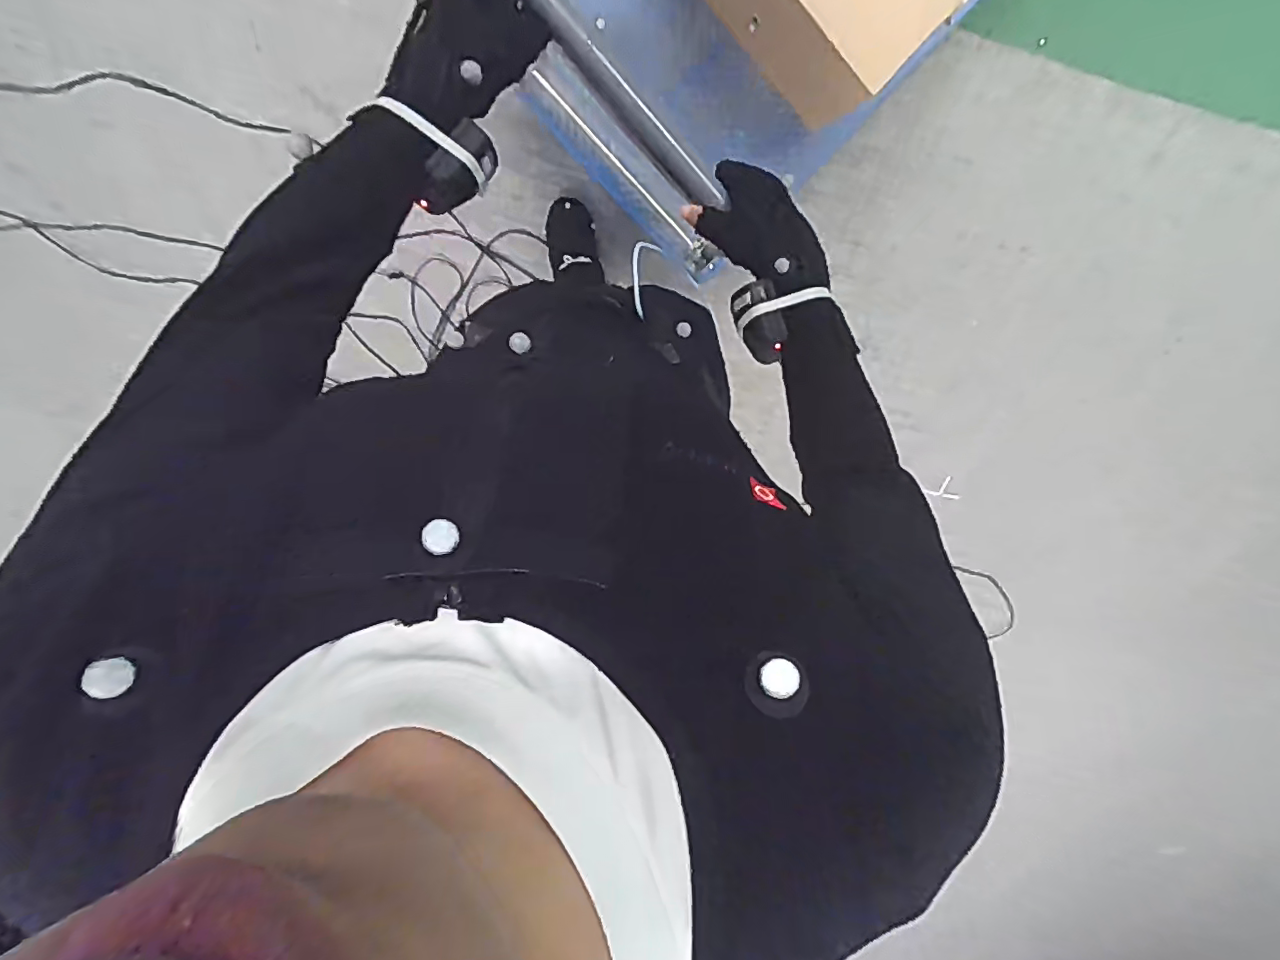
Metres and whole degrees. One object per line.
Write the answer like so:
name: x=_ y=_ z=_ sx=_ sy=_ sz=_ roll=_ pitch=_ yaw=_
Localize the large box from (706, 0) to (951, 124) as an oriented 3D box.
large box: x=0.287 y=-0.840 z=0.810 sx=0.408 sy=0.320 sz=0.320 roll=40 pitch=108 yaw=-15
